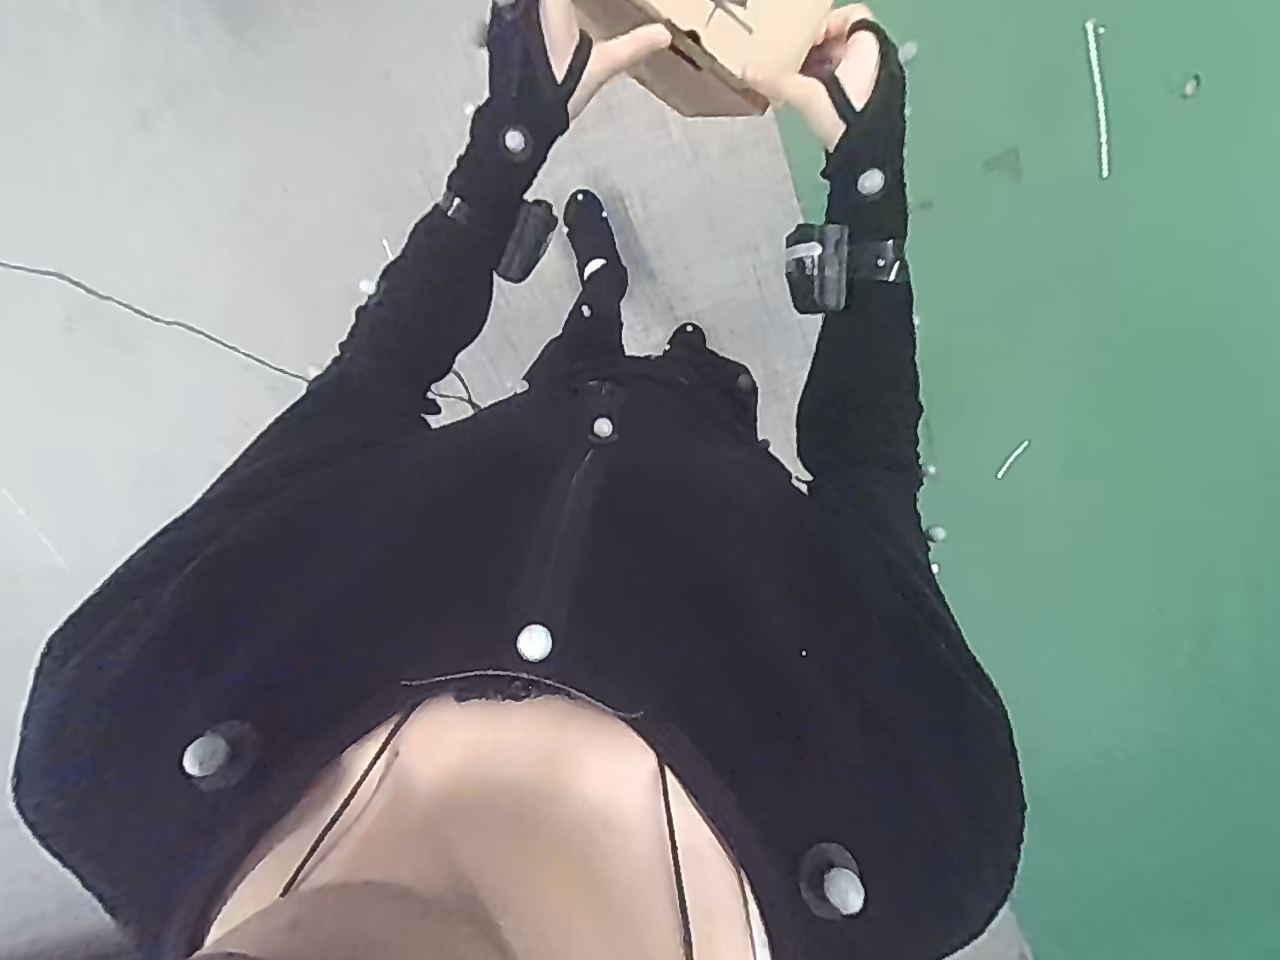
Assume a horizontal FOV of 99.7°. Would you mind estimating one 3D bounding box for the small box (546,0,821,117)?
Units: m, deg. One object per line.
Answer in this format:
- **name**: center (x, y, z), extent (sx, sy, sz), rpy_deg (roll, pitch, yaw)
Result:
- **small box**: center (0.038, -0.408, 0.408), extent (0.168, 0.176, 0.179), rpy_deg (17, 114, -30)
